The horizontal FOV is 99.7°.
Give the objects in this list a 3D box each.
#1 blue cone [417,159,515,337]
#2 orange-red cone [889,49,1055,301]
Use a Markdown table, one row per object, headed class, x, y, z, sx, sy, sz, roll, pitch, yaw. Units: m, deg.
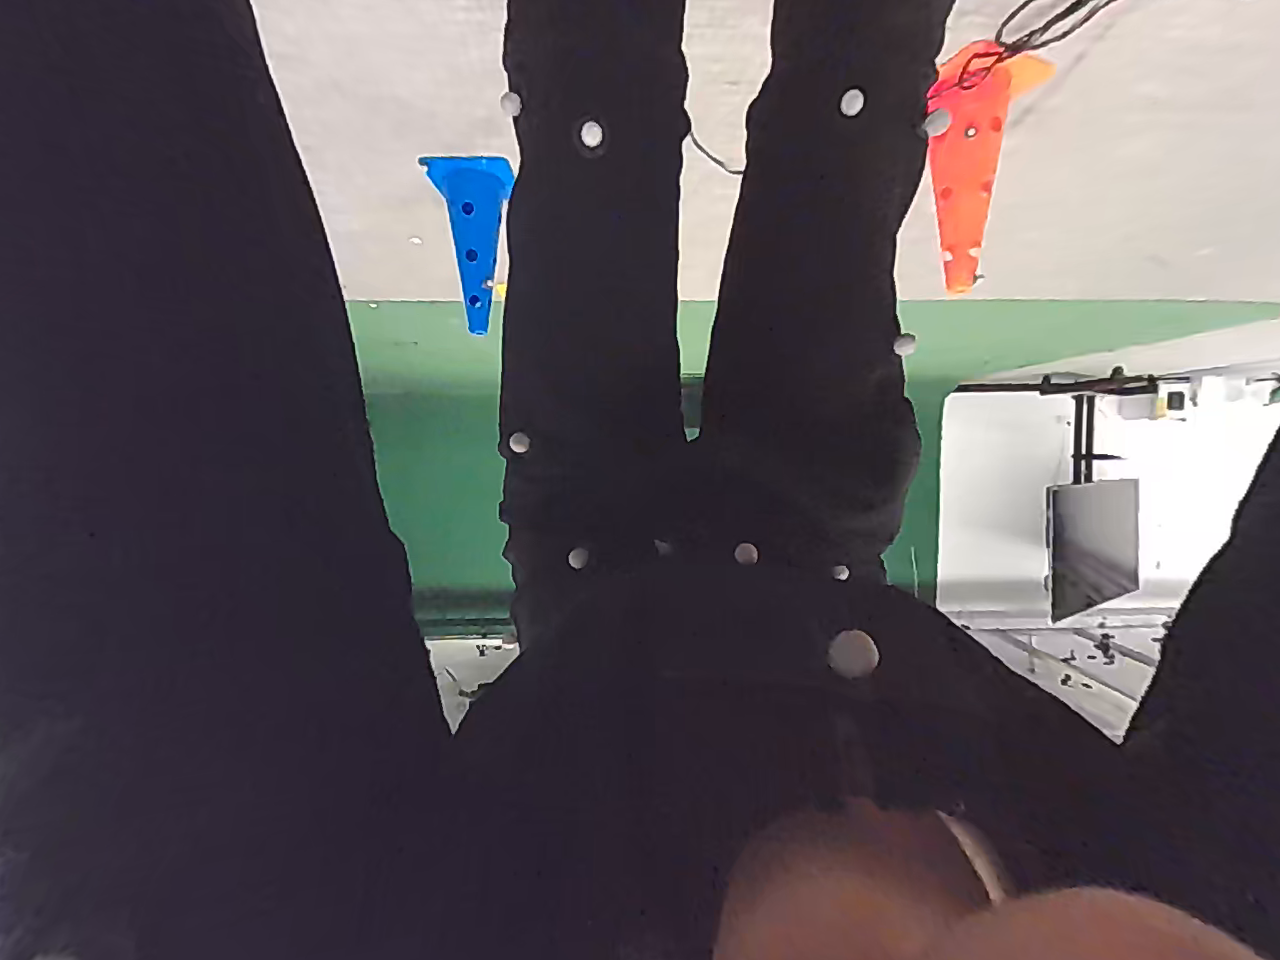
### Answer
| class | x | y | z | sx | sy | sz | roll | pitch | yaw |
| --- | --- | --- | --- | --- | --- | --- | --- | --- | --- |
| blue cone | -0.399 | -0.532 | 1.274 | 0.192 | 0.380 | 0.193 | 0 | -178 | -2 |
| orange-red cone | 0.581 | -0.505 | 0.962 | 0.199 | 0.360 | 0.198 | -3 | -176 | -21 |
